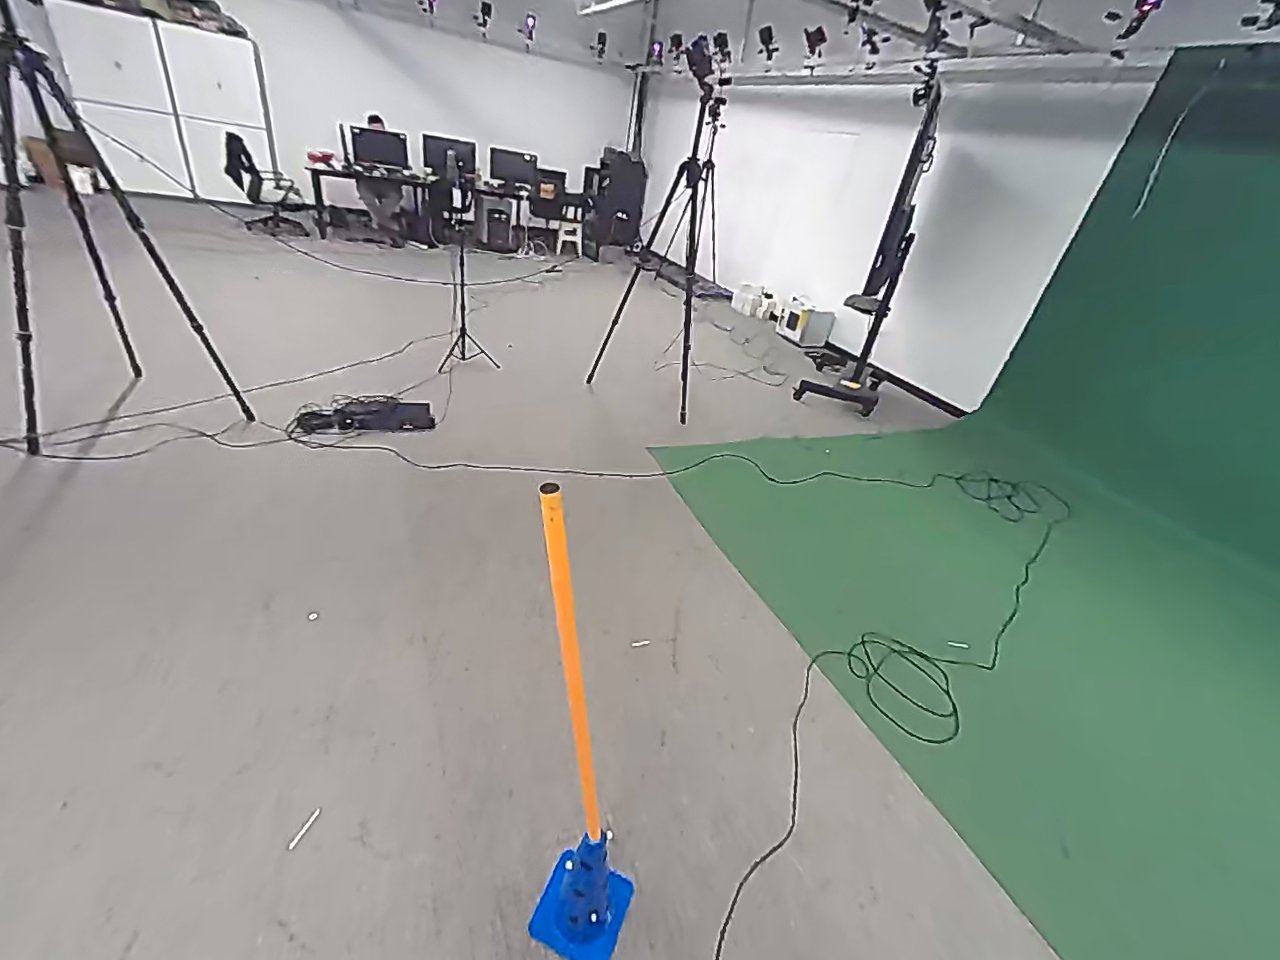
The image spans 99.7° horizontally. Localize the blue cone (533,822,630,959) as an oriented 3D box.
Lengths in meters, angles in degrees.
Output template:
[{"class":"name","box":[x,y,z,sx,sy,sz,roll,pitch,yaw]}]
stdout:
[{"class":"blue cone","box":[-0.115,0.869,1.176,0.193,0.380,0.192,17,33,13]}]
